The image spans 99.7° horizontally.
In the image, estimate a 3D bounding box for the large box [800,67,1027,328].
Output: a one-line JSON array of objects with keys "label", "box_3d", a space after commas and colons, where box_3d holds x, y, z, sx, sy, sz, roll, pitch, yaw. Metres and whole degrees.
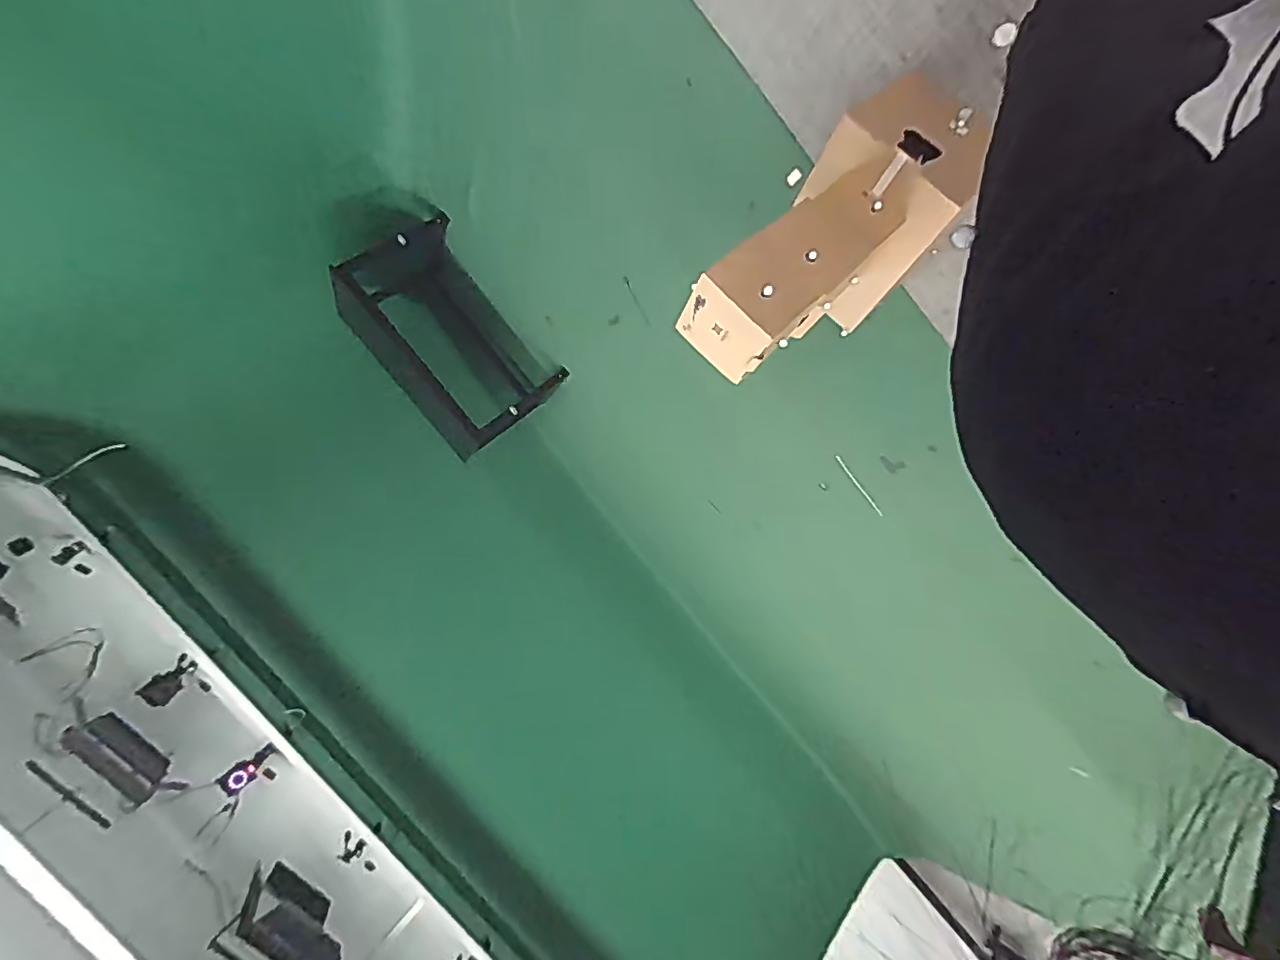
[{"label": "large box", "box_3d": [0.605, -0.666, 1.311, 0.320, 0.320, 0.408, 45, 157, 9]}]

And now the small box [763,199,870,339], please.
[{"label": "small box", "box_3d": [0.332, -0.434, 1.111, 0.179, 0.176, 0.168, 46, 156, 3]}]

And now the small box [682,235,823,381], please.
[{"label": "small box", "box_3d": [0.217, -0.334, 1.048, 0.179, 0.176, 0.168, 44, 155, 4]}]

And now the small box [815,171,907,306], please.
[{"label": "small box", "box_3d": [0.443, -0.528, 1.187, 0.168, 0.176, 0.179, 45, 155, 5]}]
